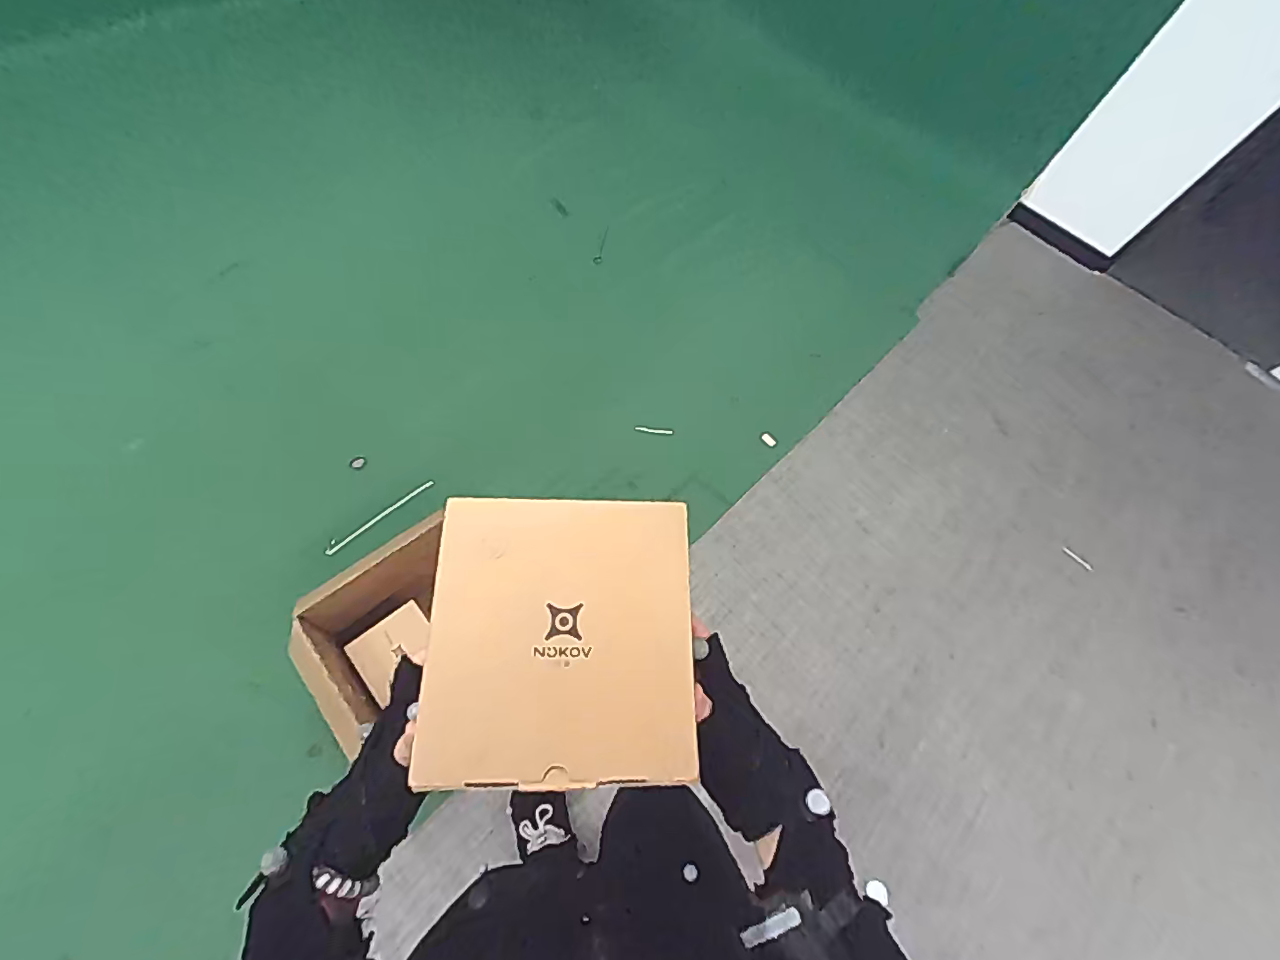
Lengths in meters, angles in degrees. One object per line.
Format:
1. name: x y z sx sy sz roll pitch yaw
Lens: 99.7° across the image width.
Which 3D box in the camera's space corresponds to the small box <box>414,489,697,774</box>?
1. small box: -0.056 0.120 0.416 0.168 0.176 0.179 2 67 -5
